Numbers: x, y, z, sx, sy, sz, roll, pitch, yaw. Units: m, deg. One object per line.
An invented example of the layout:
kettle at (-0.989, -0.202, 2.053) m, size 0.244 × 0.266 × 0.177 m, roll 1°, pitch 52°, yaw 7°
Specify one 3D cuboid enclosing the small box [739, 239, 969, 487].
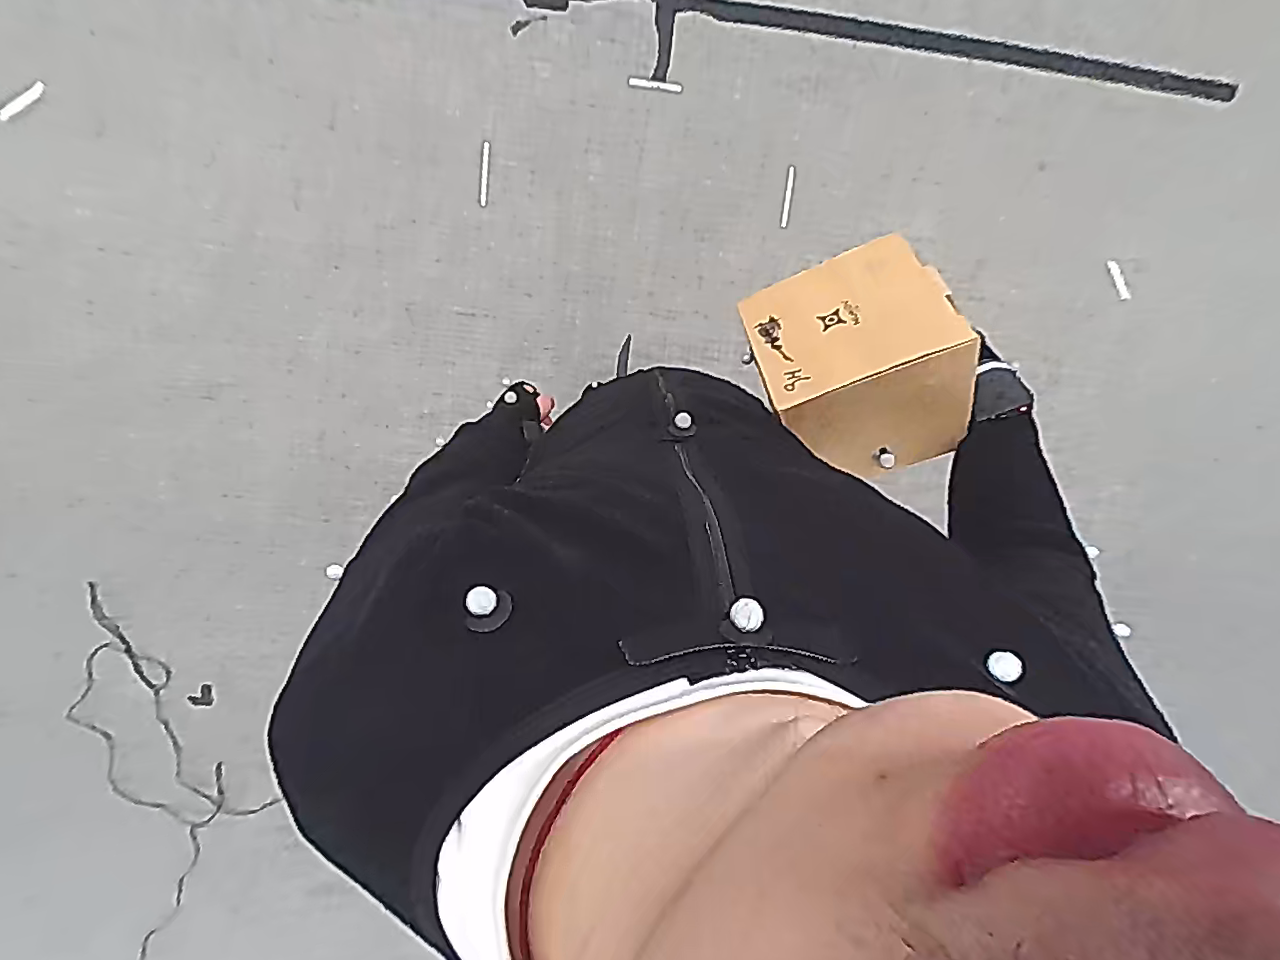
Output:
small box at (0.229, -0.119, 0.598) m, size 0.179 × 0.168 × 0.176 m, roll -20°, pitch 142°, yaw 14°
